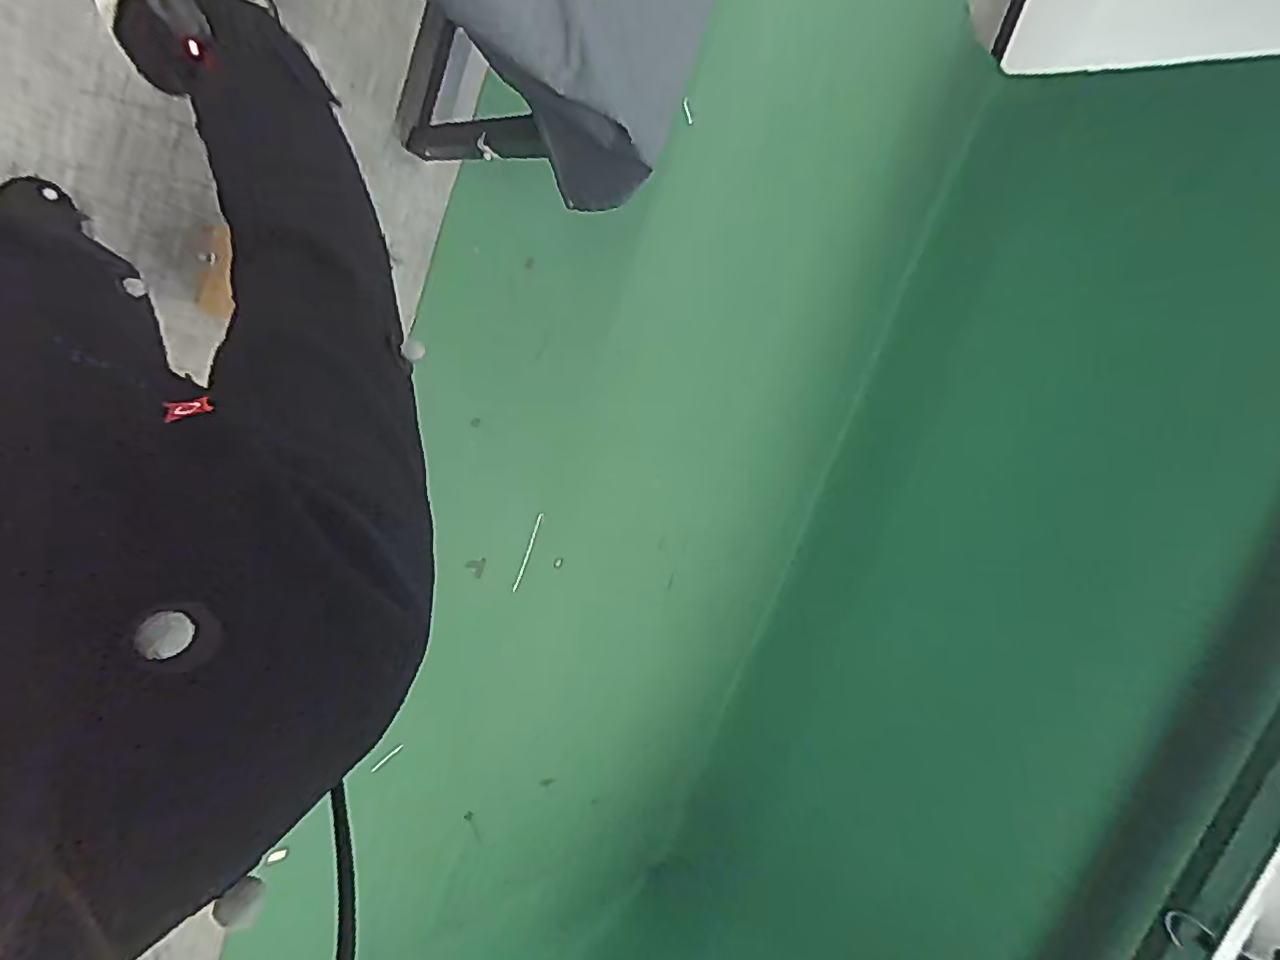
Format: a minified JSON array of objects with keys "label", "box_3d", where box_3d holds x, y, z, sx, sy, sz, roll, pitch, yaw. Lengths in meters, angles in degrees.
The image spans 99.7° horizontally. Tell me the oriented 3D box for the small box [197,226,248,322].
[{"label":"small box","box_3d":[-0.739,-0.389,1.070,0.179,0.176,0.168,4,106,-51]}]
